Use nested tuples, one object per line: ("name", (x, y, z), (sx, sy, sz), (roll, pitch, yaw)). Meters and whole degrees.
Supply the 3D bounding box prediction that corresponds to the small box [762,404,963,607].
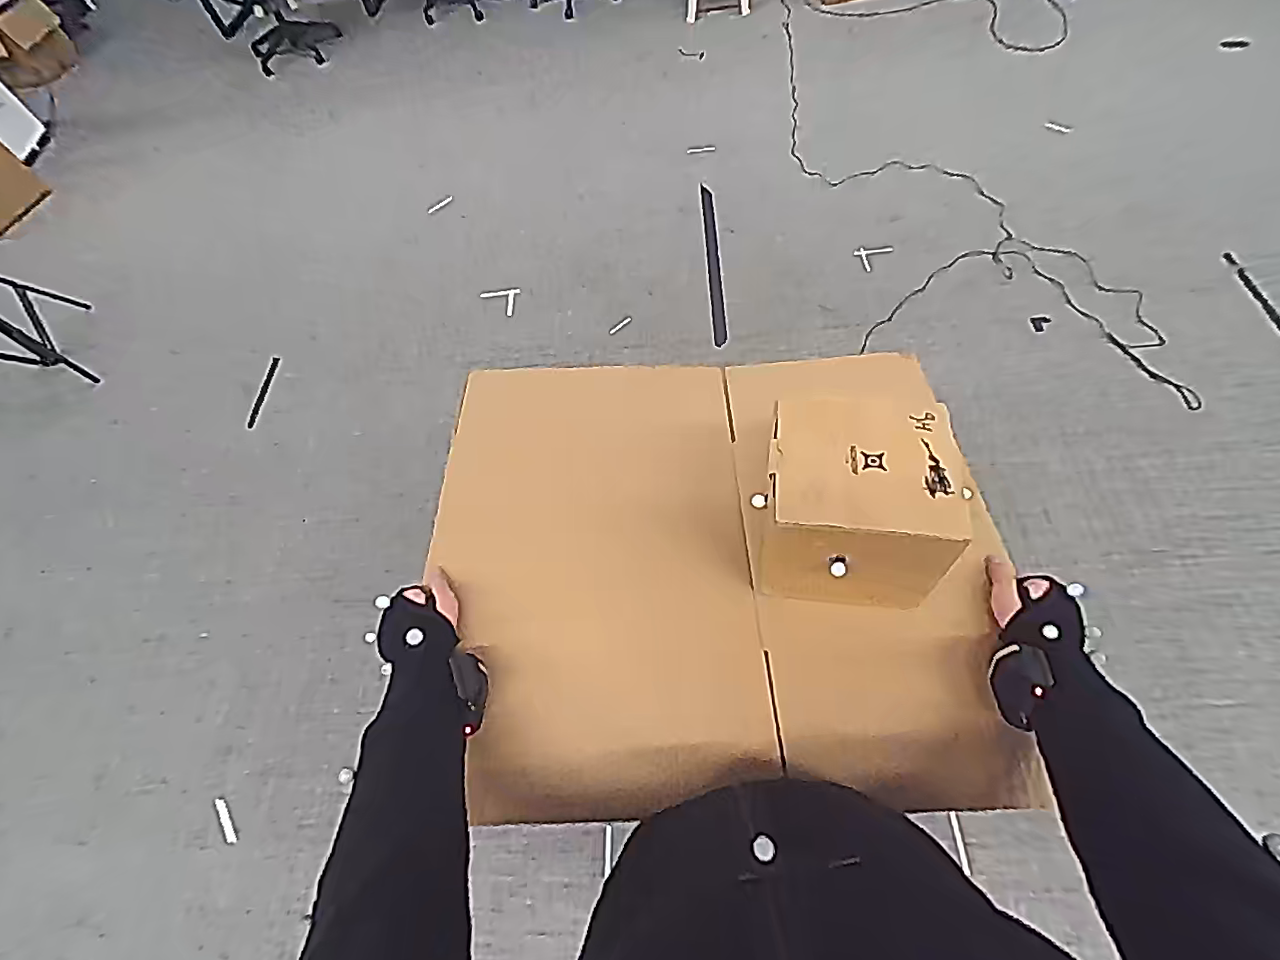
("small box", (0.232, 0.033, 0.613), (0.179, 0.176, 0.168), (3, 56, 11))
